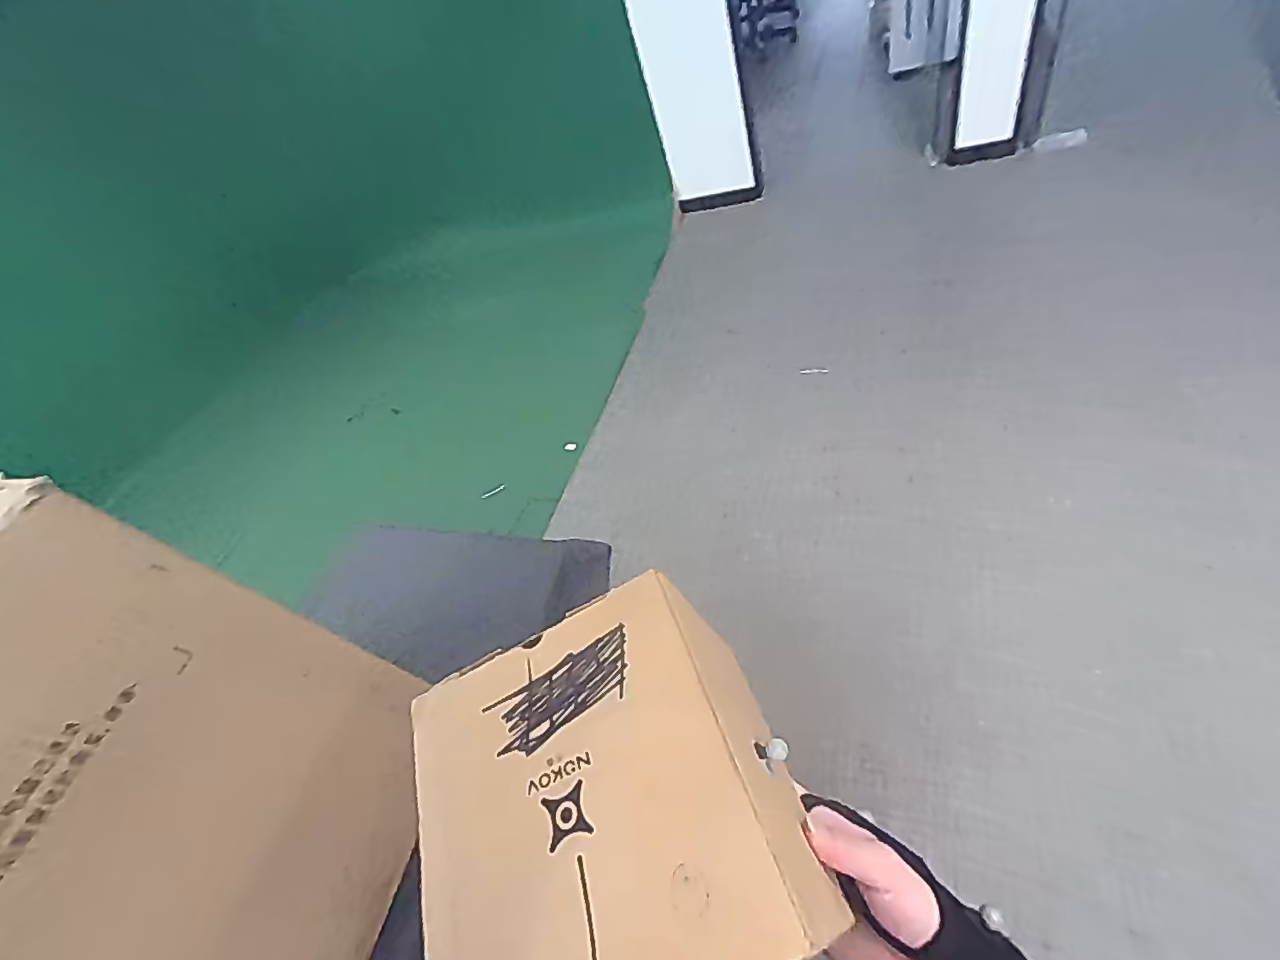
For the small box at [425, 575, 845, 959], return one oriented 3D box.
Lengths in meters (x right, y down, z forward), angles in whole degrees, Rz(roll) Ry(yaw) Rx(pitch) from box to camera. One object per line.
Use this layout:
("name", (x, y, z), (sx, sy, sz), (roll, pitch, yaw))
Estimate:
("small box", (-0.002, 0.193, 0.321), (0.168, 0.176, 0.179), (-30, 49, 6))
